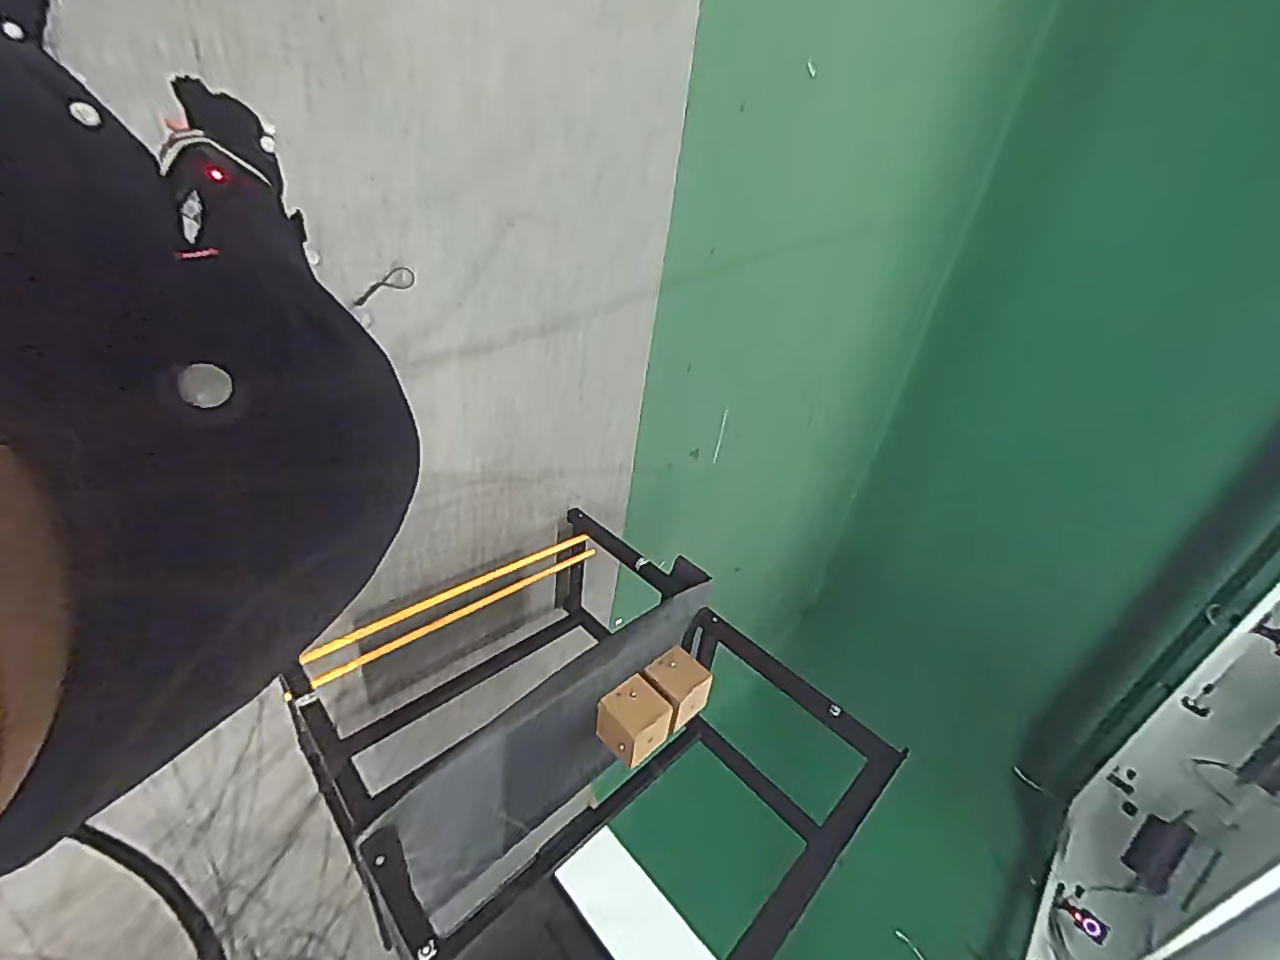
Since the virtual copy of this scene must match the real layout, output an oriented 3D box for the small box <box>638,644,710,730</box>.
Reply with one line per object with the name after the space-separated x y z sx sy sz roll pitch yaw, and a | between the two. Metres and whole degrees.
0.109 0.697 1.837 0.168 0.176 0.179 -24 134 -39 | small box
